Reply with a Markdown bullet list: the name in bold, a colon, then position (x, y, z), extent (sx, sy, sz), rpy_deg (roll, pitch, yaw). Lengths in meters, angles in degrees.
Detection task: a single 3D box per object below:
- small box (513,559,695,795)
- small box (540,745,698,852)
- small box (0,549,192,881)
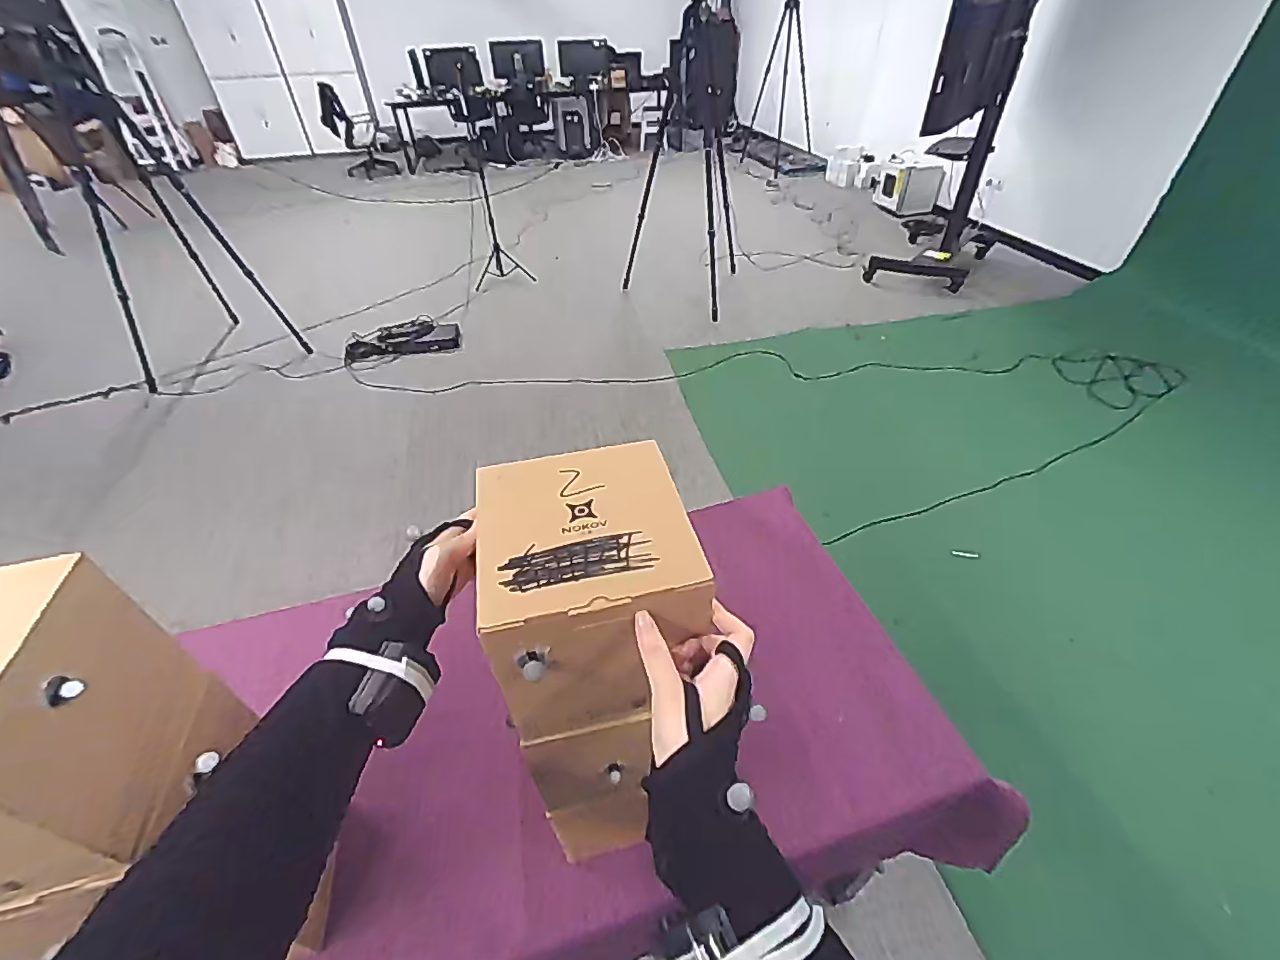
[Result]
- **small box**: position (-0.040, 0.217, 0.587), extent (0.168, 0.176, 0.179), rpy_deg (-9, 41, -7)
- **small box**: position (-0.032, 0.344, 0.692), extent (0.179, 0.176, 0.168), rpy_deg (-10, 42, -9)
- **small box**: position (-0.488, 0.185, 0.402), extent (0.168, 0.176, 0.179), rpy_deg (-12, 41, -11)
